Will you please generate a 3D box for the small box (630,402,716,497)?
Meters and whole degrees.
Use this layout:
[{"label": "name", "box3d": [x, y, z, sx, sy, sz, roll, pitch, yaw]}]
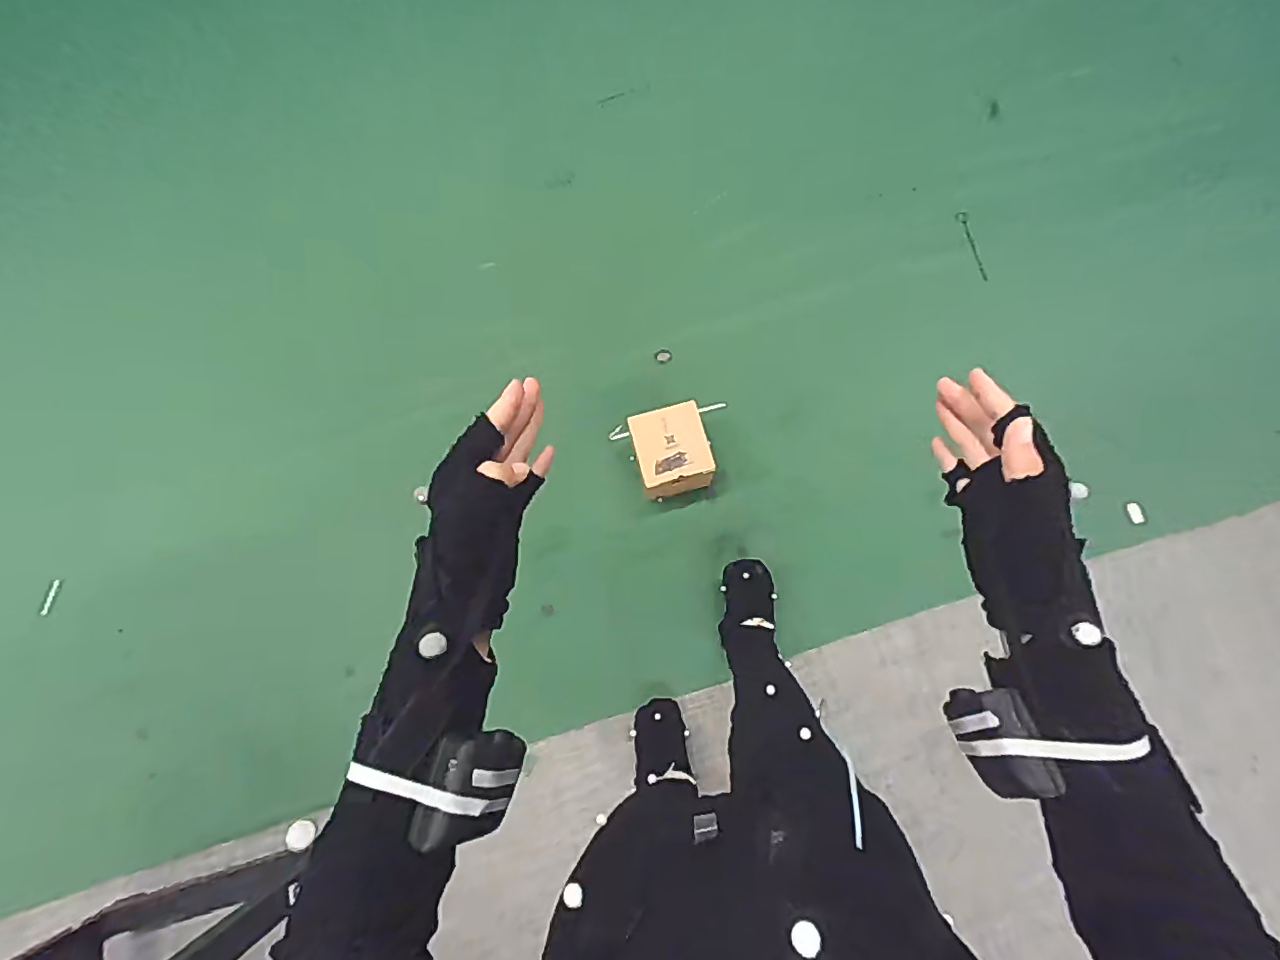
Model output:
[{"label": "small box", "box3d": [0.078, -0.064, 1.311, 0.168, 0.176, 0.179, -15, 76, -2]}]
